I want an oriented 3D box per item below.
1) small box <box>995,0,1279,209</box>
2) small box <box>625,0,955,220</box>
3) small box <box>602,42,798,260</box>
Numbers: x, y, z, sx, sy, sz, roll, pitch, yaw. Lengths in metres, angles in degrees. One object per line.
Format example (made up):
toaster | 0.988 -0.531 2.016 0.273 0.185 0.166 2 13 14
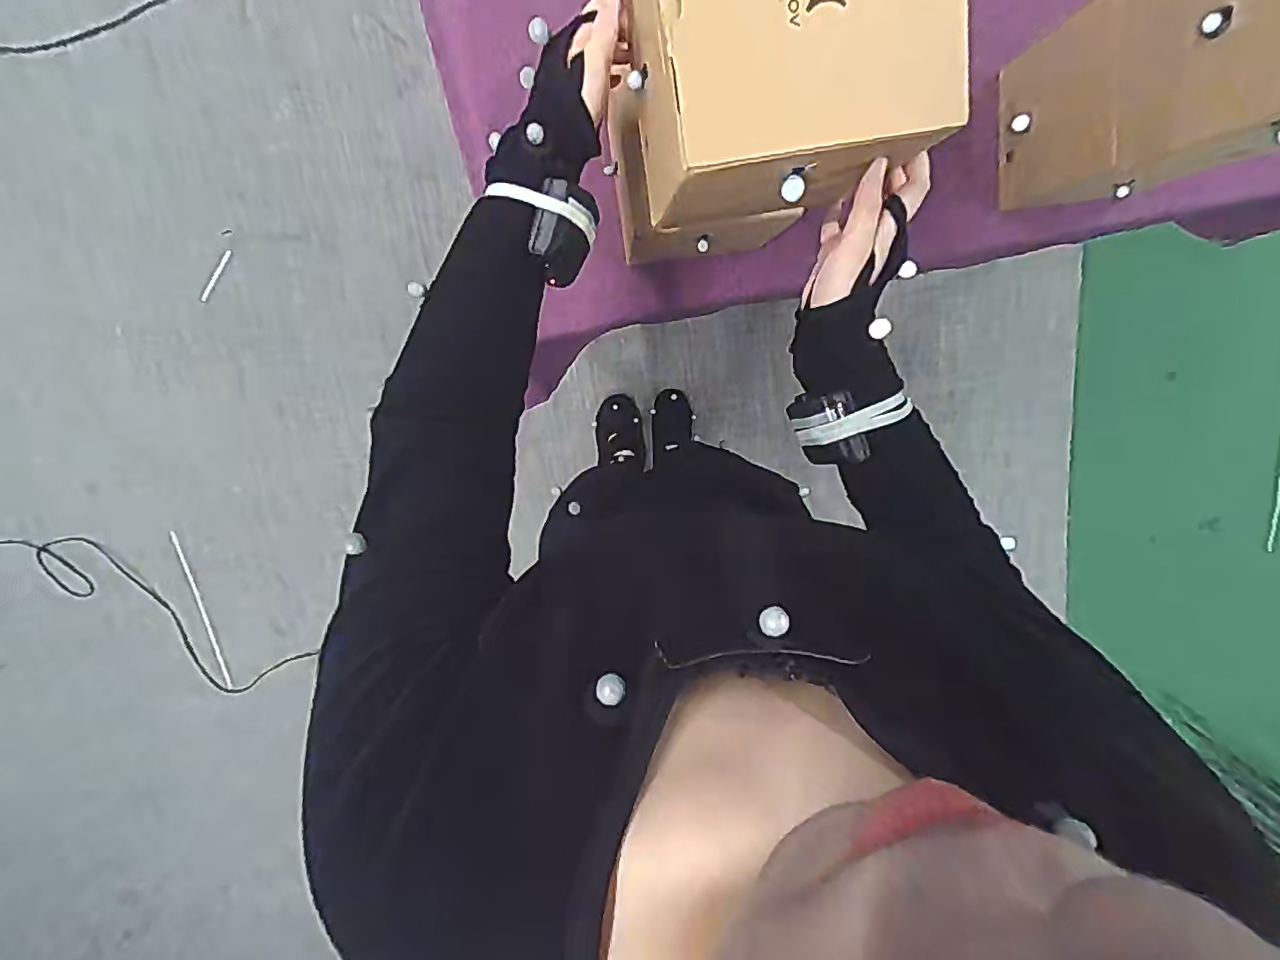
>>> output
small box | 0.539 -0.421 0.604 0.179 0.176 0.168 -9 102 0
small box | 0.088 -0.299 0.382 0.179 0.176 0.168 -9 104 -1
small box | 0.058 -0.349 0.593 0.179 0.176 0.168 -8 103 -1
